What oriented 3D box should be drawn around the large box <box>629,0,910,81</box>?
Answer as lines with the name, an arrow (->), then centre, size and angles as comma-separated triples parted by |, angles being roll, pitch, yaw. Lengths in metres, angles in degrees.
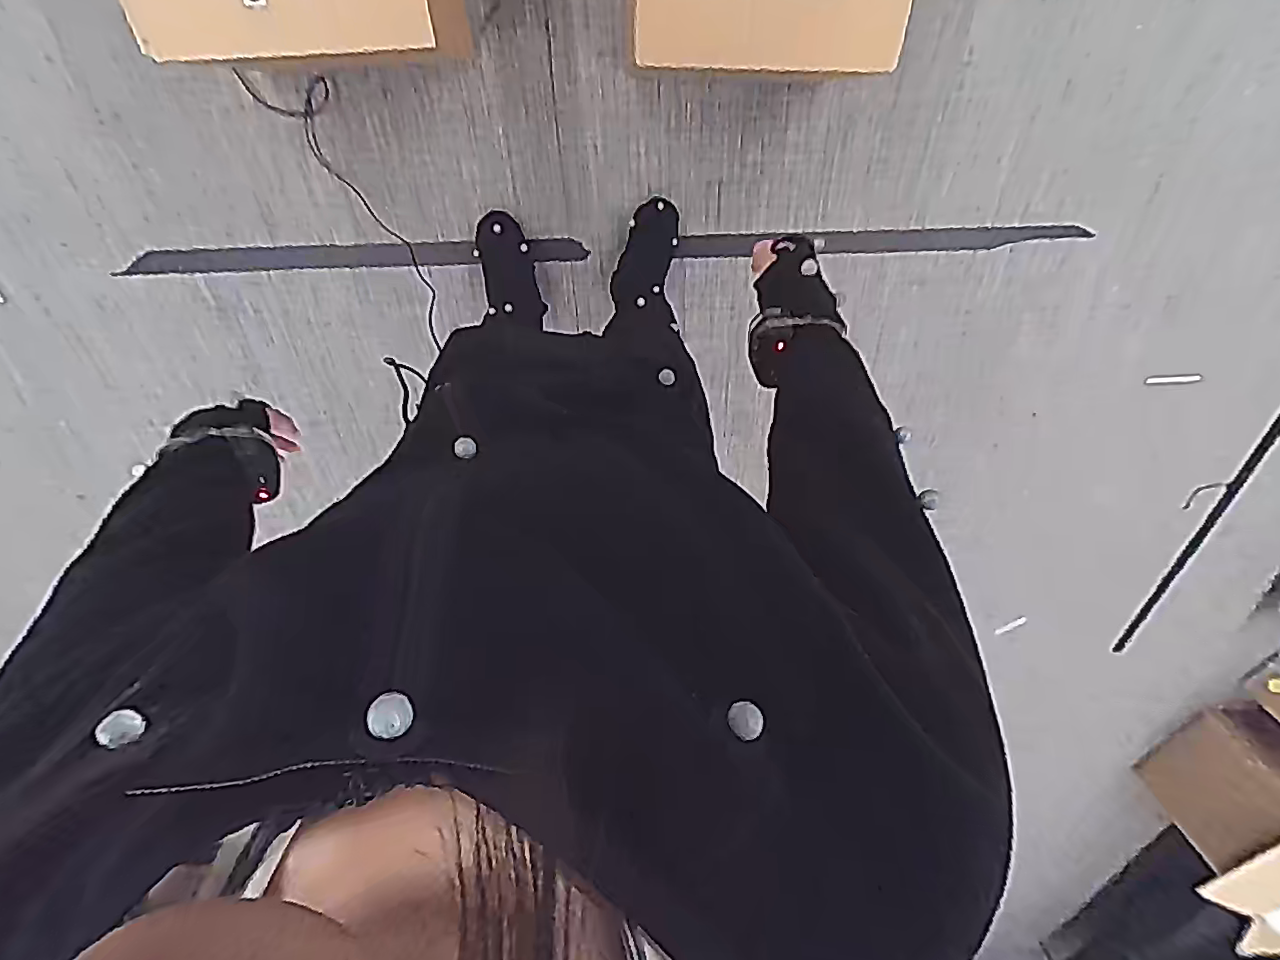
large box -> 0.187, -0.839, 0.863 | 0.408, 0.320, 0.320 | -1, 125, -5
